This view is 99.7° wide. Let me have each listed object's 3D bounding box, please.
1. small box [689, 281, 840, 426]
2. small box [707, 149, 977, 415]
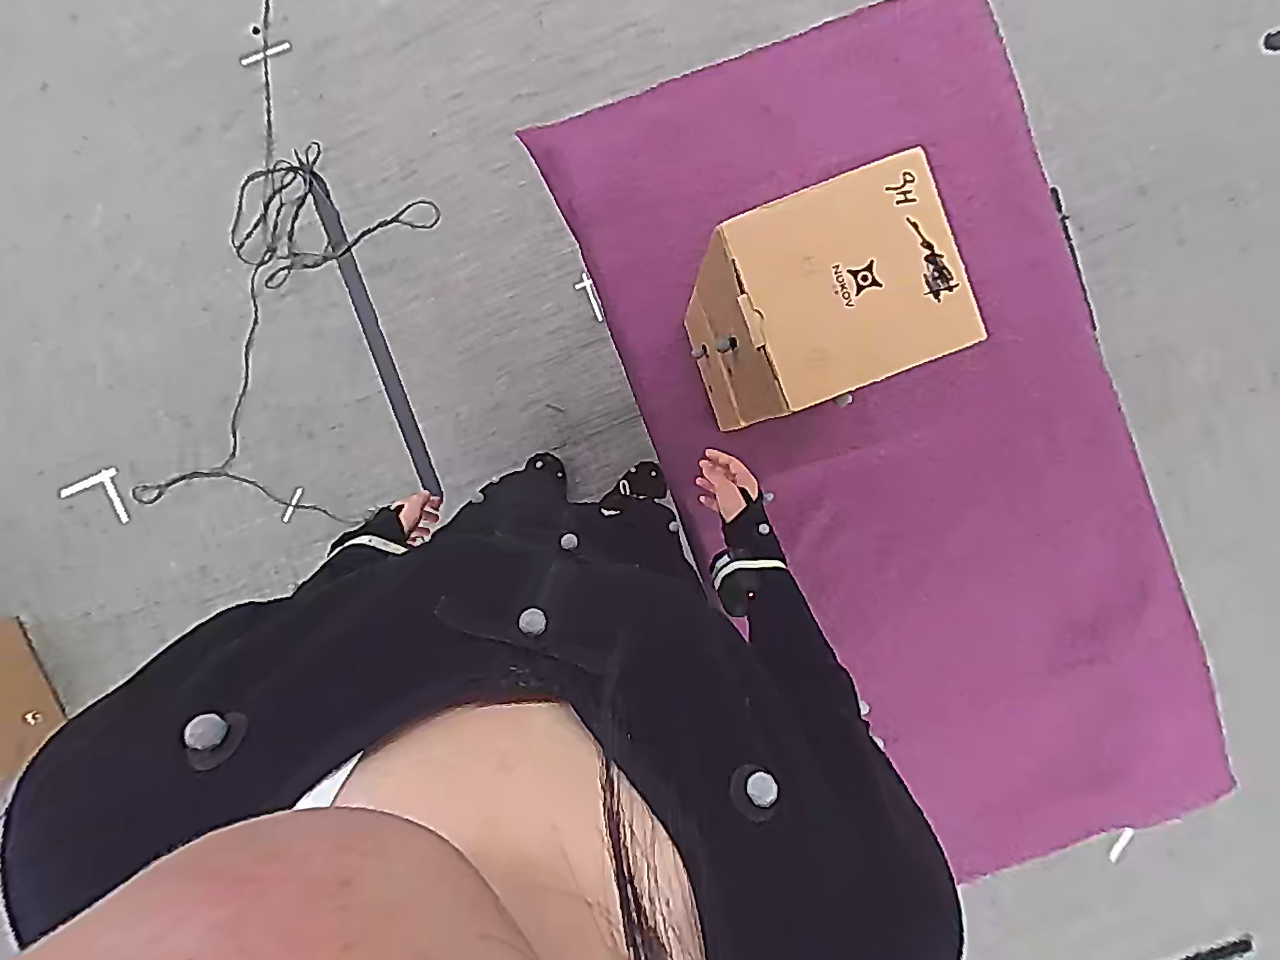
[{"bbox_3d":[0.167,-0.172,0.688,0.179,0.176,0.168,-19,93,0],"label":"small box"},{"bbox_3d":[0.172,-0.168,0.524,0.179,0.176,0.168,-21,93,1],"label":"small box"}]
